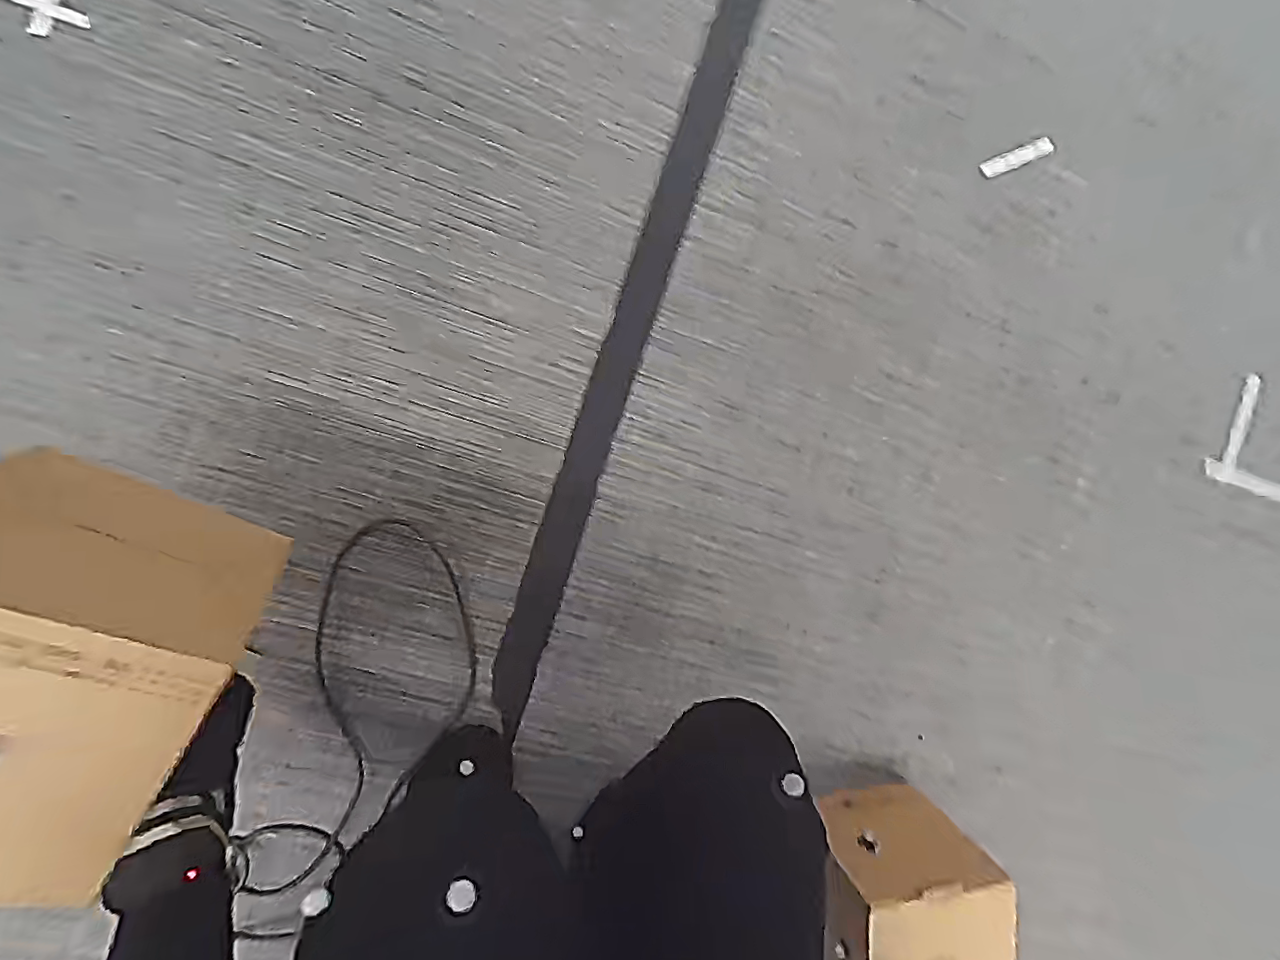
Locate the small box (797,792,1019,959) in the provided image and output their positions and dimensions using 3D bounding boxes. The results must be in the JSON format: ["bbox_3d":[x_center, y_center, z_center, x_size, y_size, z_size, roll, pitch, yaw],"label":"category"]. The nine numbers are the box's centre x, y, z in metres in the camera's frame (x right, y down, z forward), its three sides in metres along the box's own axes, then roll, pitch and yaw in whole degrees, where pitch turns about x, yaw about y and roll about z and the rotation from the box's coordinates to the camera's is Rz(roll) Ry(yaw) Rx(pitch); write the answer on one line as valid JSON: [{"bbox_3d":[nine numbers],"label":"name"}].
[{"bbox_3d":[0.290,0.487,0.617,0.168,0.176,0.179,-3,95,-9],"label":"small box"}]

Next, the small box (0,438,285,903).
[{"bbox_3d":[-0.348,0.094,0.317,0.168,0.179,0.176,31,94,-28],"label":"small box"}]
